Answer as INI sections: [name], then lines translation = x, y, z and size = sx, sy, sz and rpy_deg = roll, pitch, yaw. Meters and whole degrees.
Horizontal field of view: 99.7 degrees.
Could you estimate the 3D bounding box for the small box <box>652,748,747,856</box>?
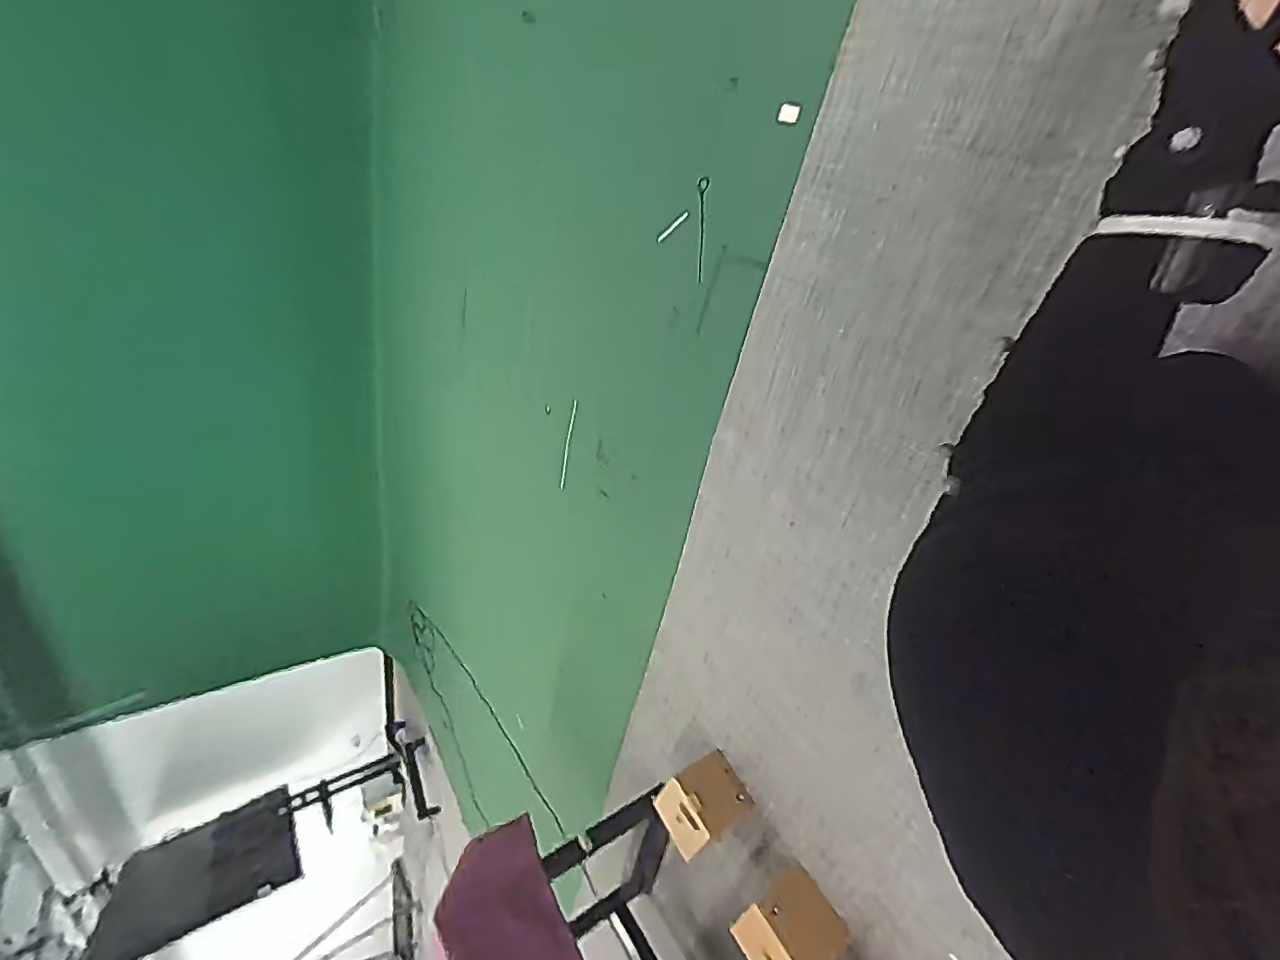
[small box]
translation = 0.165, 0.868, 1.471
size = 0.168, 0.176, 0.179
rpy_deg = 50, 134, 35
